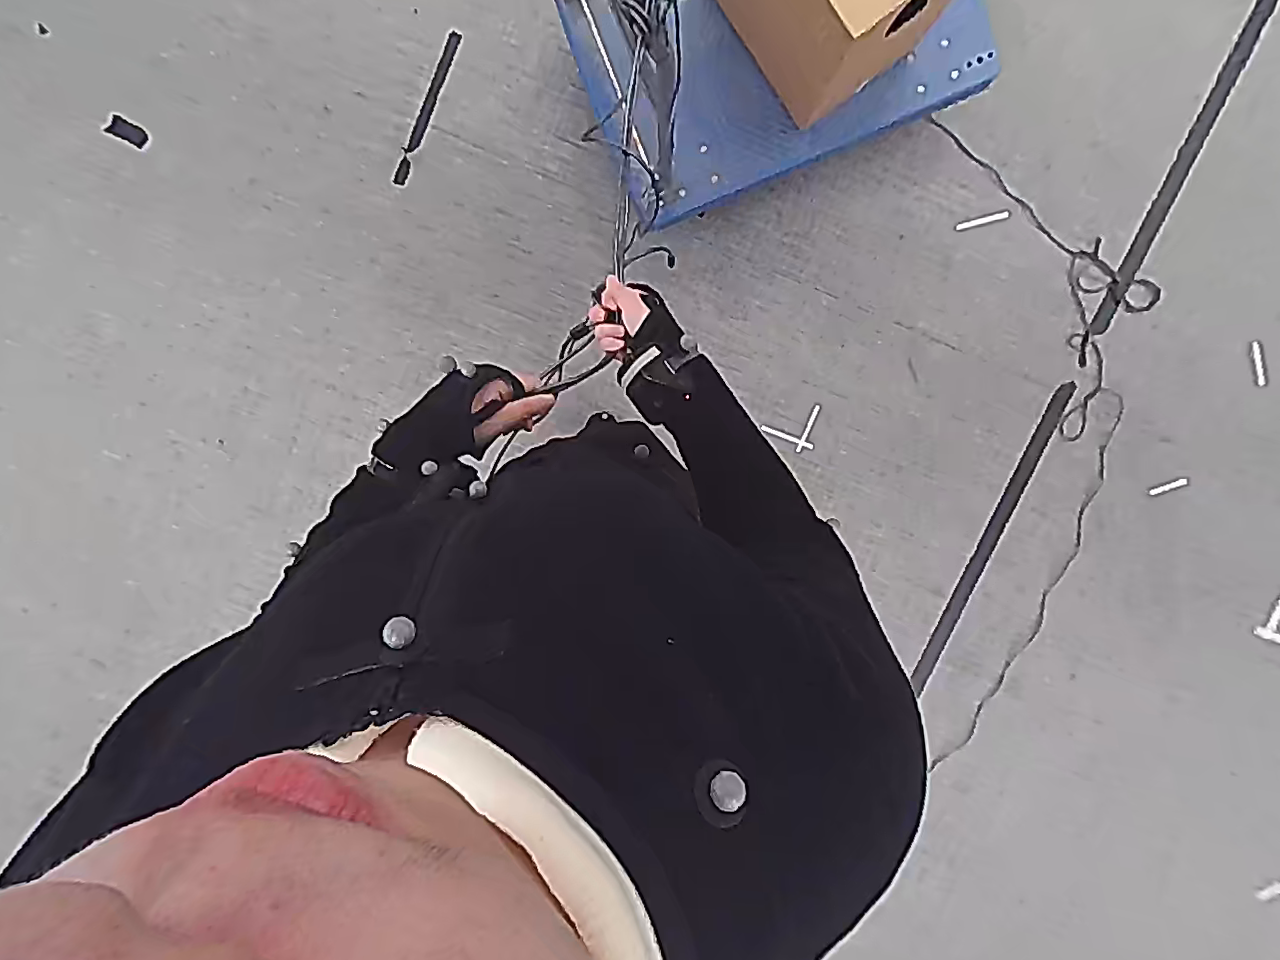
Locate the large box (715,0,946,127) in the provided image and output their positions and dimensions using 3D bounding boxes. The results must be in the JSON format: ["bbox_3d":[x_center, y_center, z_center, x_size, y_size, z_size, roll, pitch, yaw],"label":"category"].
[{"bbox_3d":[0.369,-1.020,1.047,0.320,0.320,0.408,-36,96,5],"label":"large box"}]
